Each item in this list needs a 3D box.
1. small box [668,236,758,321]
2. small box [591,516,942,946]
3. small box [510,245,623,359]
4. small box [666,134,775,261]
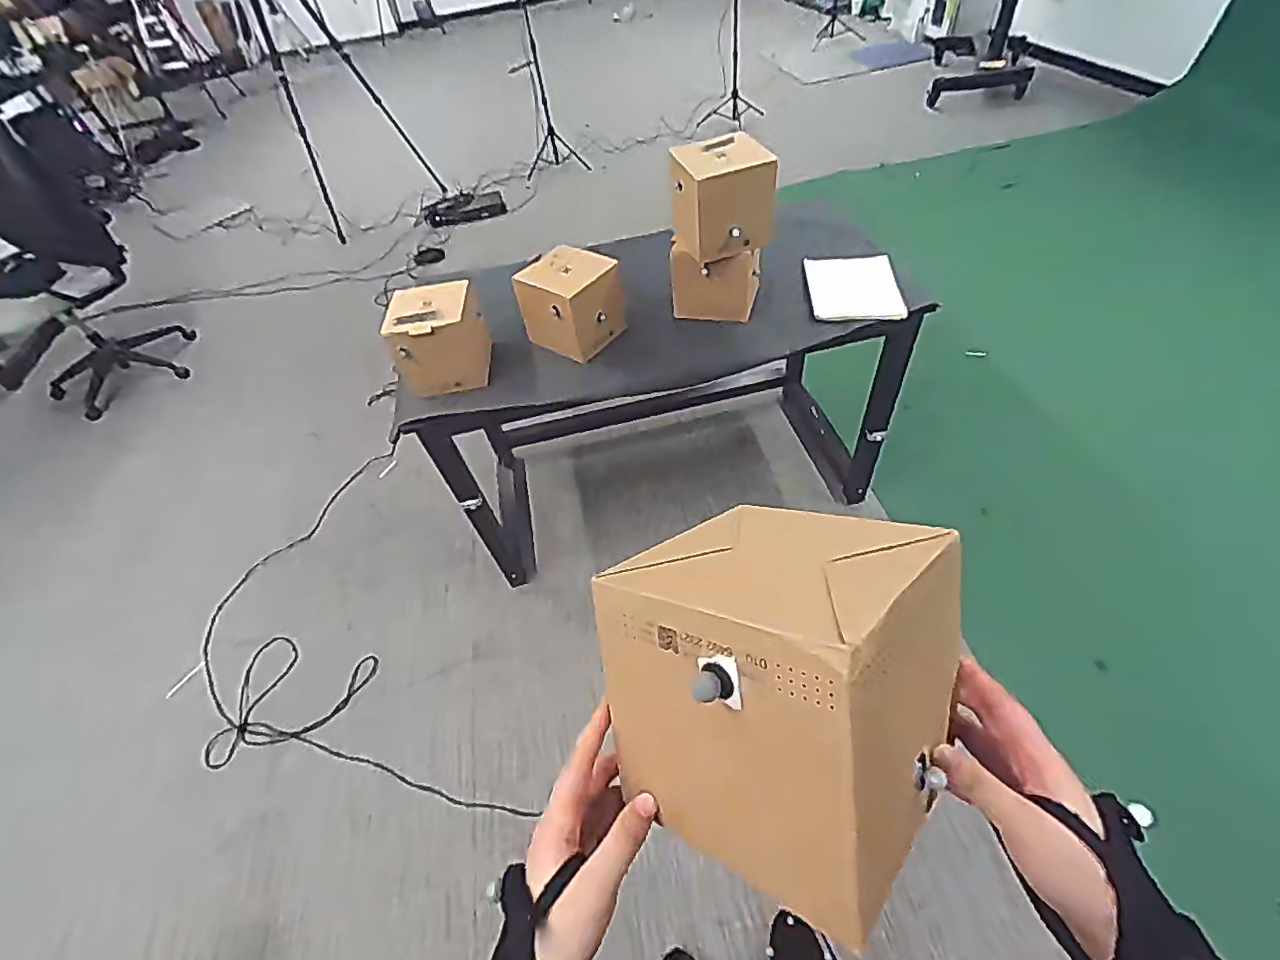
[{"bbox_3d":[0.175,-0.486,1.250,0.179,0.176,0.168,9,52,17],"label":"small box"},{"bbox_3d":[0.090,0.124,0.358,0.168,0.176,0.179,4,16,44],"label":"small box"},{"bbox_3d":[-0.157,-0.398,1.224,0.179,0.176,0.168,27,58,27],"label":"small box"},{"bbox_3d":[0.161,-0.581,1.115,0.168,0.176,0.179,-17,50,-5],"label":"small box"}]
